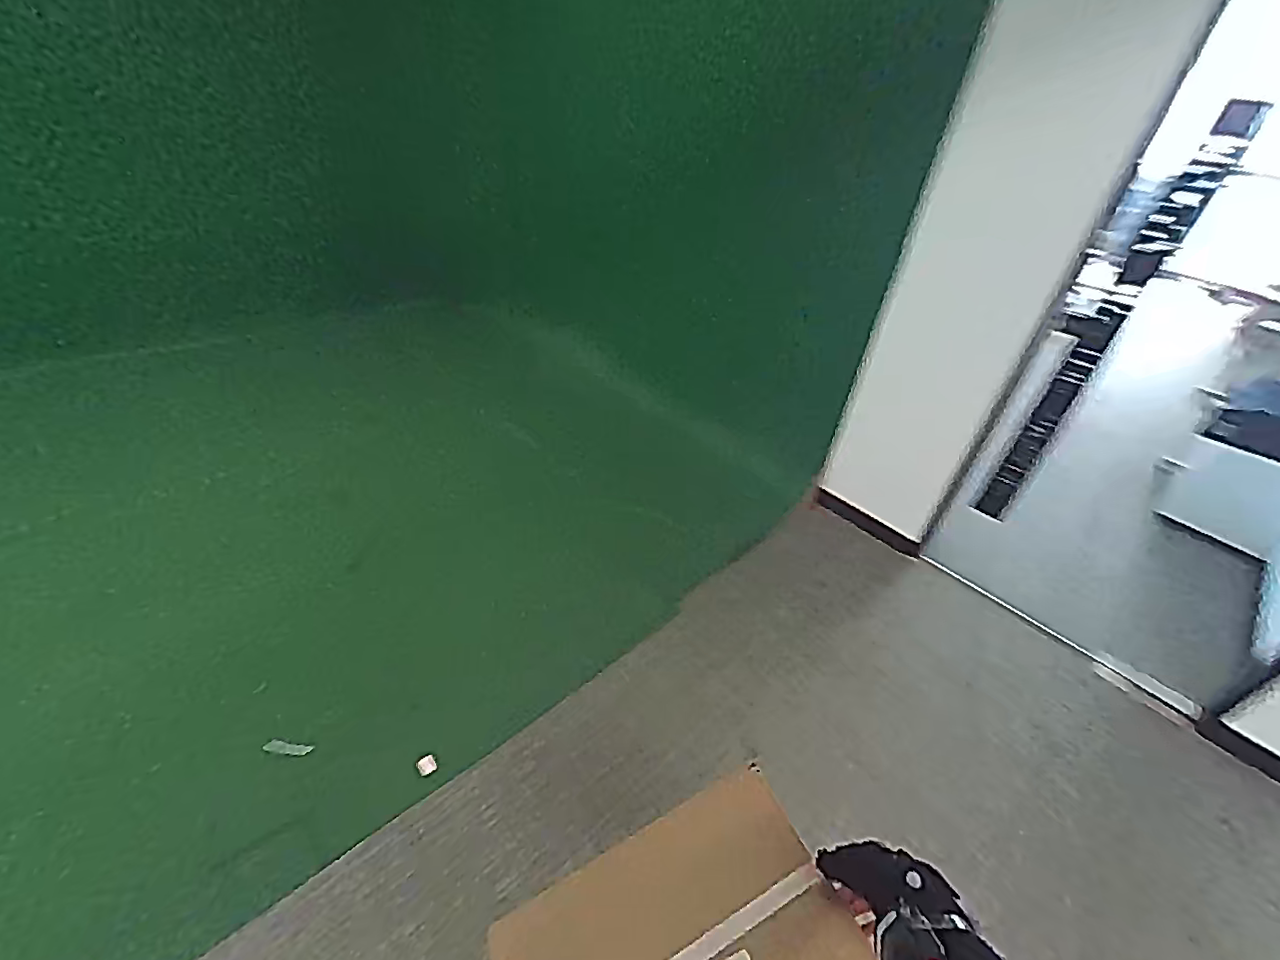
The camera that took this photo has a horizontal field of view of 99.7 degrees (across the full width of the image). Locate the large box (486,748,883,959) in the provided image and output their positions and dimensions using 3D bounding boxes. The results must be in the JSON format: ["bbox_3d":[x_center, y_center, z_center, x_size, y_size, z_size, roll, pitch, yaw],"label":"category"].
[{"bbox_3d":[0.073,0.653,0.689,0.408,0.320,0.320,-28,33,-10],"label":"large box"}]
